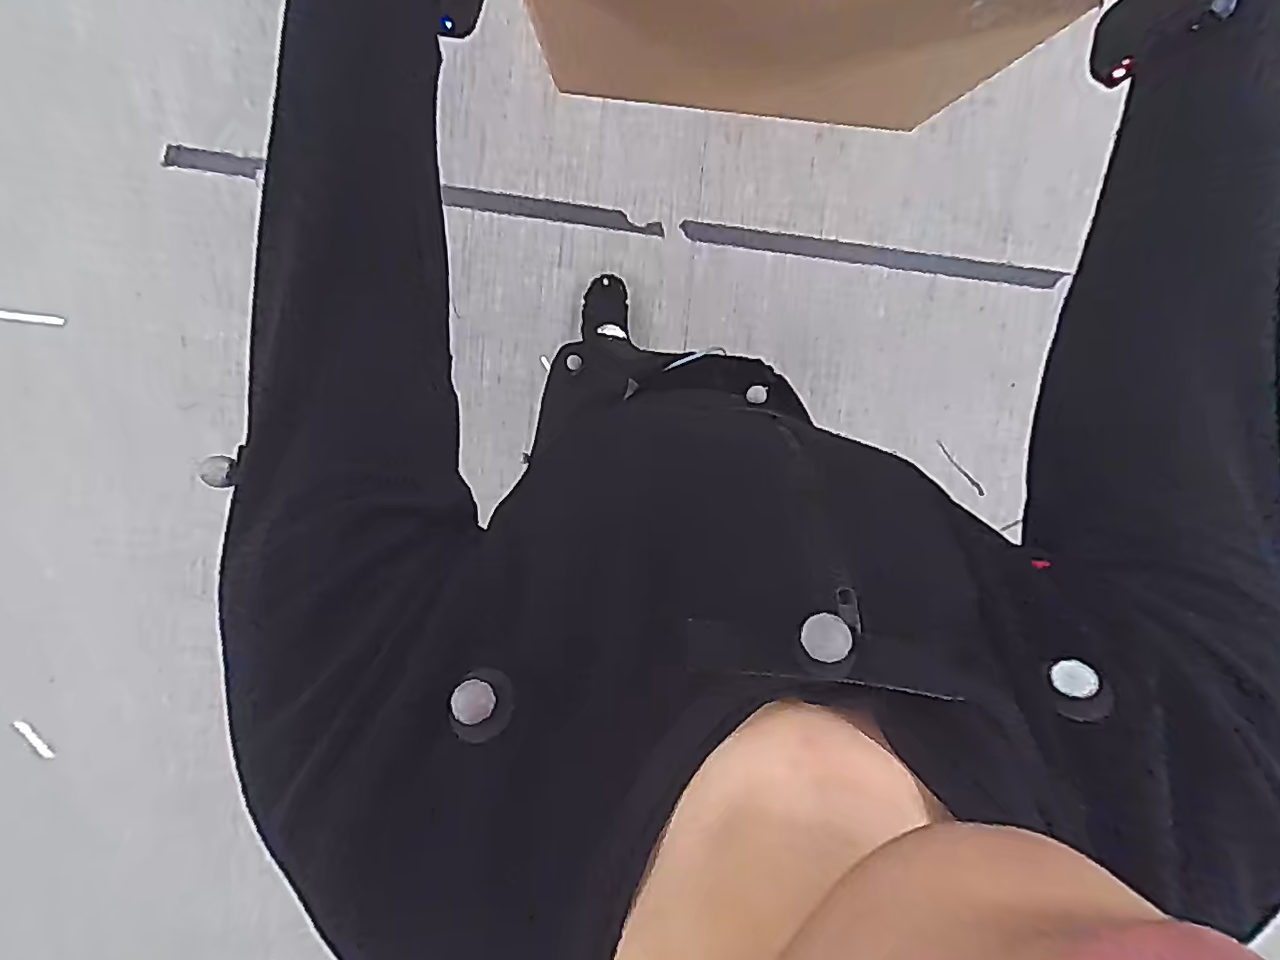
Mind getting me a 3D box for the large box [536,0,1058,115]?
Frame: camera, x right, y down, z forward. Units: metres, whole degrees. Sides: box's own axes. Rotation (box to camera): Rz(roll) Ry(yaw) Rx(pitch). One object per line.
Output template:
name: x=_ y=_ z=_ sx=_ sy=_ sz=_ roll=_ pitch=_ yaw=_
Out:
large box: x=0.119 y=-0.529 z=0.425 sx=0.408 sy=0.320 sz=0.320 roll=5 pitch=108 yaw=-3
